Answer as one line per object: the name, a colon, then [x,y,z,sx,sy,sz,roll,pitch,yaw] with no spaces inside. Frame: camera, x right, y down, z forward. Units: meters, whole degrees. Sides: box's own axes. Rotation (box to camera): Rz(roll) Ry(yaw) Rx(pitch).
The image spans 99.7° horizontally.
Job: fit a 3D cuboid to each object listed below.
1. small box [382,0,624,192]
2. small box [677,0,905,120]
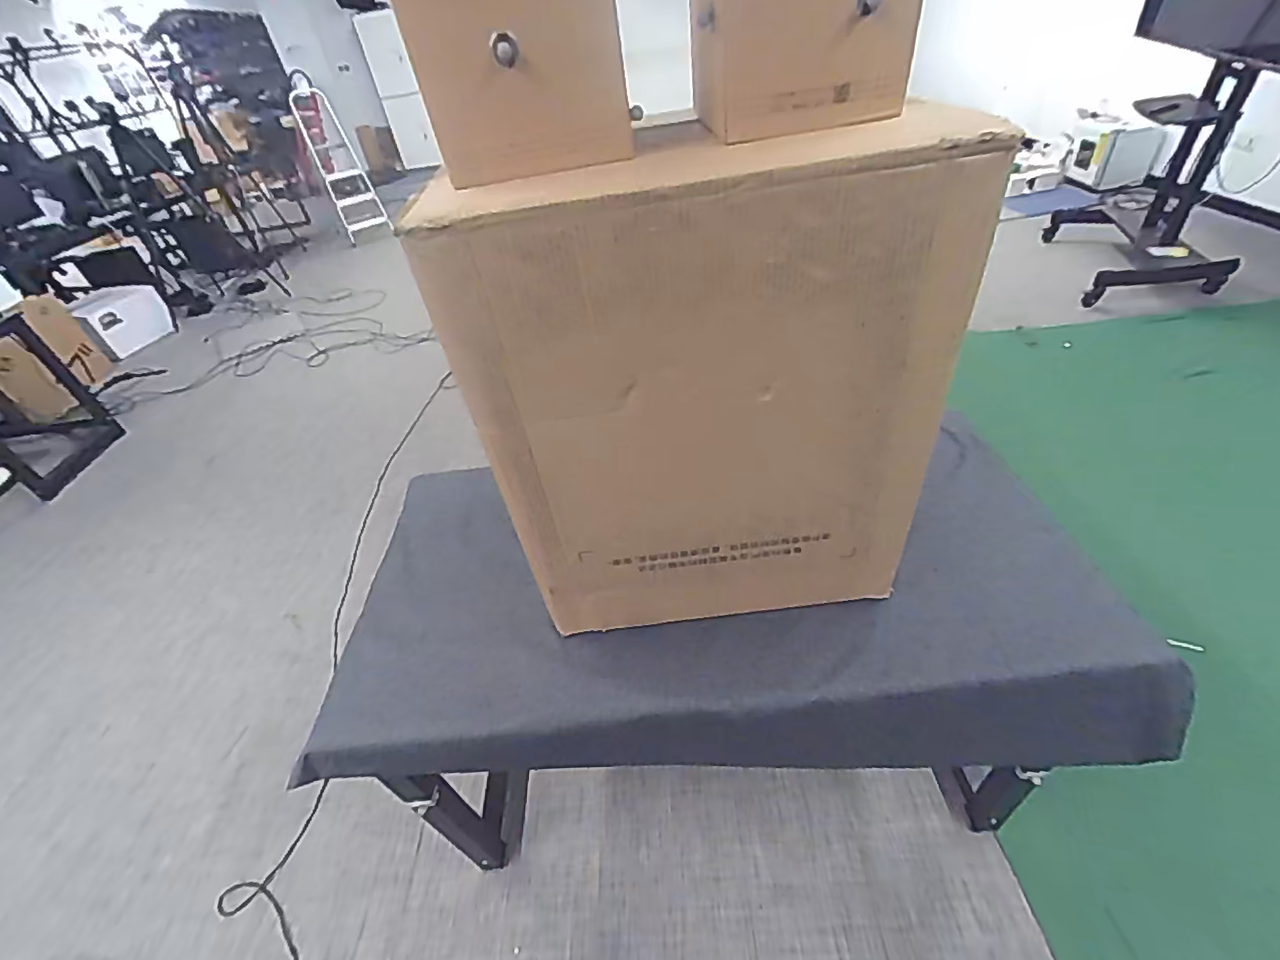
small box: [-0.113,-0.398,0.511,0.179,0.176,0.168,-11,43,2]
small box: [0.131,-0.448,0.493,0.168,0.176,0.179,-12,45,-3]
